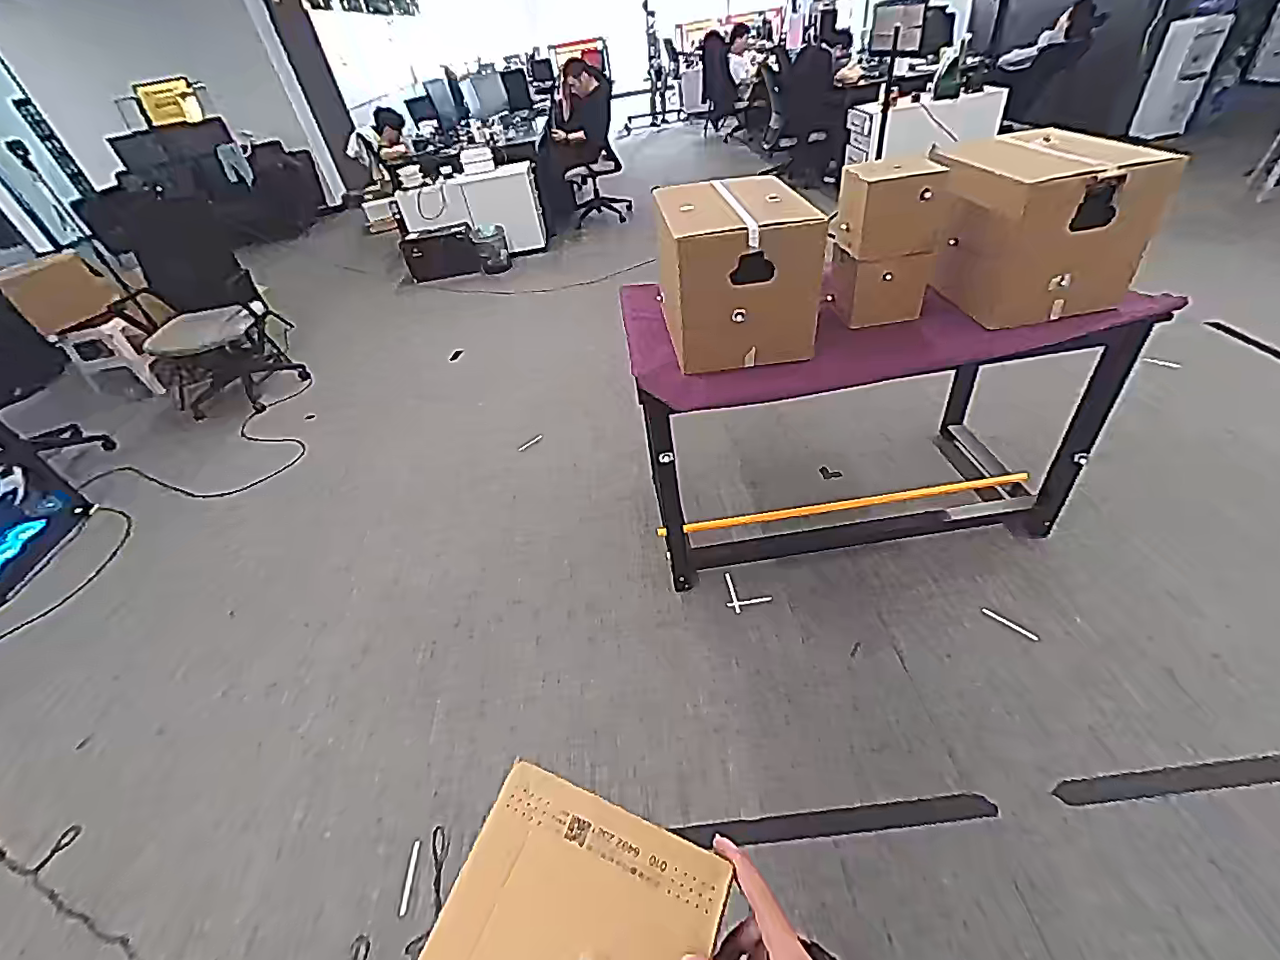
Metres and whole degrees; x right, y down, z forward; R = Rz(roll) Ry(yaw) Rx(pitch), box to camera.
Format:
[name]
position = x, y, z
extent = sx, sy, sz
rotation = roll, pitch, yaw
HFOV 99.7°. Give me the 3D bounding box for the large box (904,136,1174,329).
[large box]
position = 0.901, -0.604, 1.304
extent = 0.320, 0.320, 0.408
rotation = -9, 39, 0
